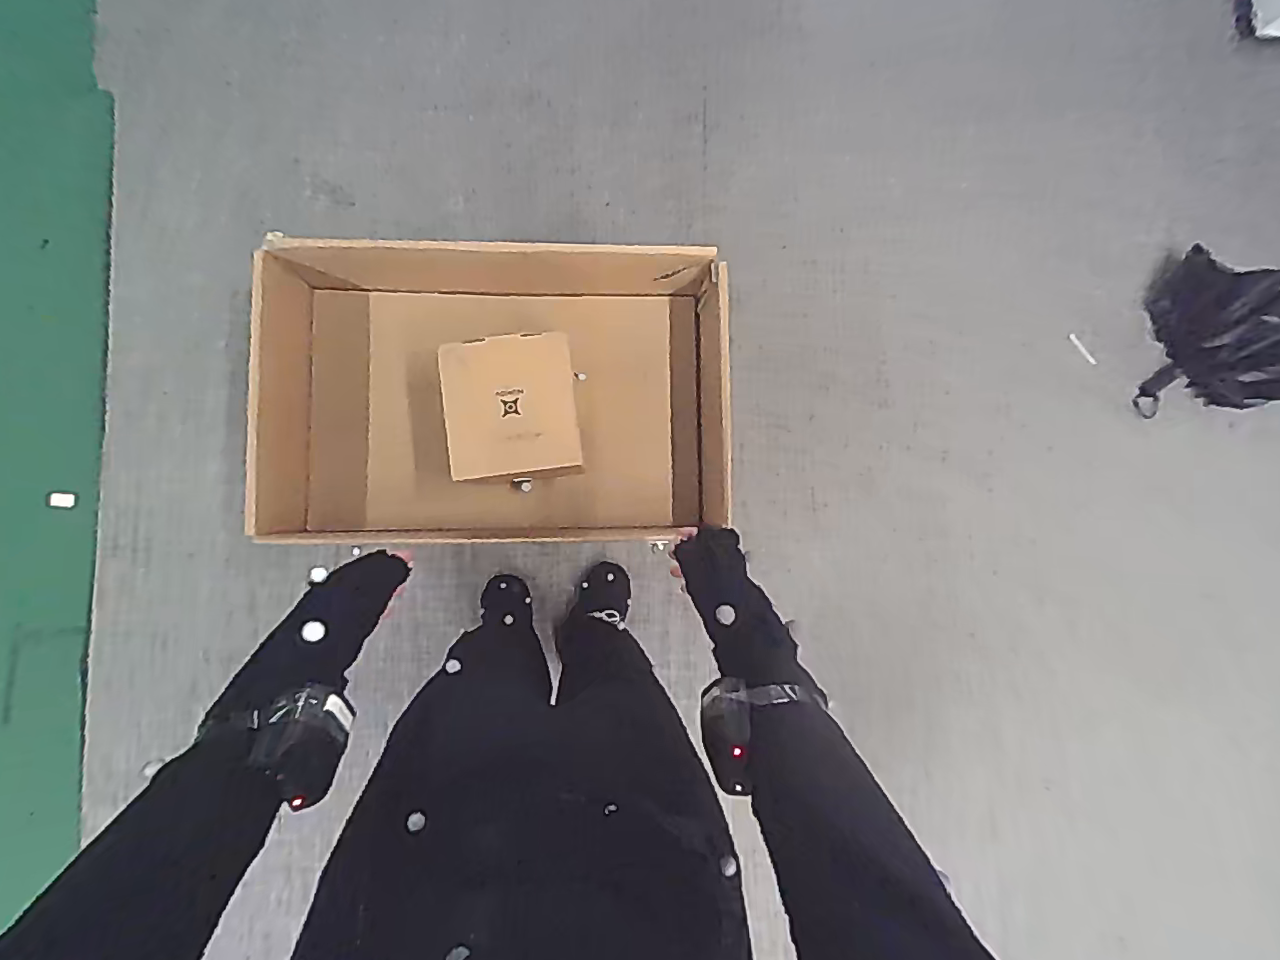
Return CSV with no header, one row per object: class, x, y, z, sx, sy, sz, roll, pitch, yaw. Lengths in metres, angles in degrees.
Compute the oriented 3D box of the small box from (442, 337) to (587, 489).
small box,-0.167,-0.085,0.766,0.168,0.176,0.179,-7,88,-3
